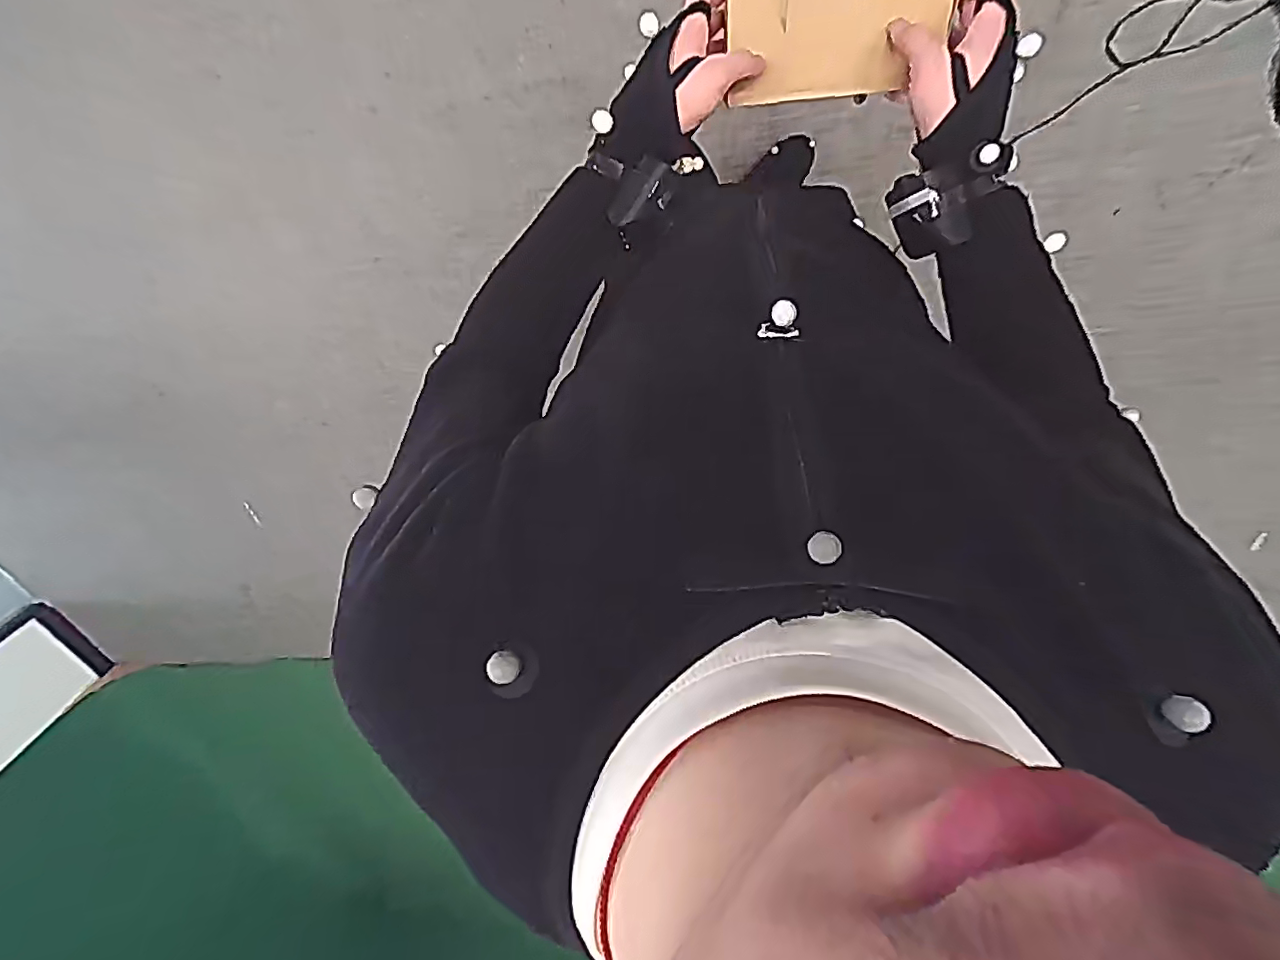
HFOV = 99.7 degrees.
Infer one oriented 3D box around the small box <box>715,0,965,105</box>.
[{"bbox_3d":[0.158,-0.425,0.455,0.179,0.176,0.168,0,128,5],"label":"small box"}]
